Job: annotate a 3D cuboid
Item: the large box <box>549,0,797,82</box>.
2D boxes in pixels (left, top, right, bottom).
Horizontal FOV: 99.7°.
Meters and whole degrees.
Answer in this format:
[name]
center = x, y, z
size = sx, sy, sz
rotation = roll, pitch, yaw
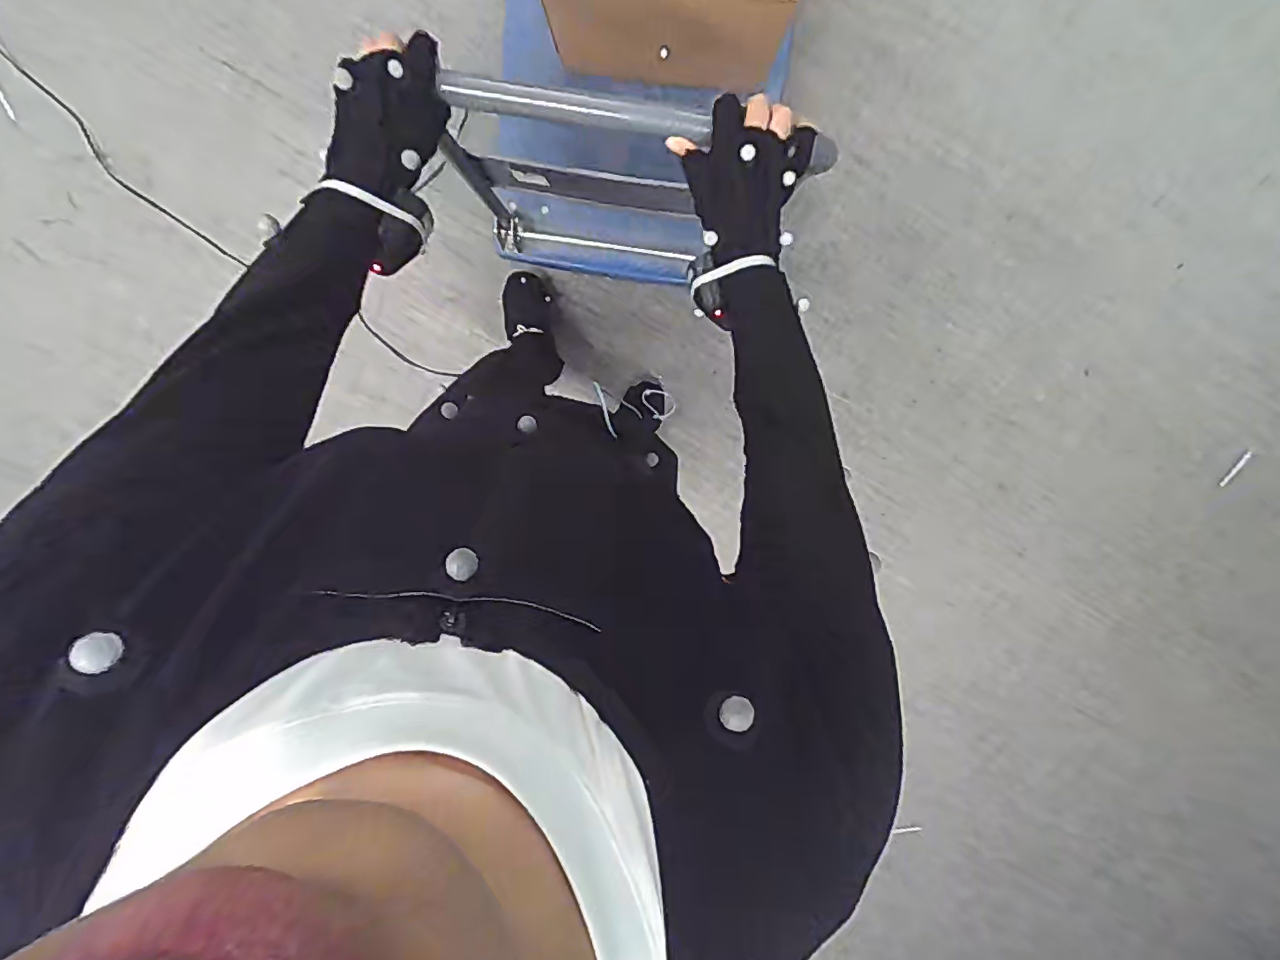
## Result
[large box]
center = 0.063, -0.935, 0.921
size = 0.408, 0.320, 0.320
rotation = 6, 104, 0
